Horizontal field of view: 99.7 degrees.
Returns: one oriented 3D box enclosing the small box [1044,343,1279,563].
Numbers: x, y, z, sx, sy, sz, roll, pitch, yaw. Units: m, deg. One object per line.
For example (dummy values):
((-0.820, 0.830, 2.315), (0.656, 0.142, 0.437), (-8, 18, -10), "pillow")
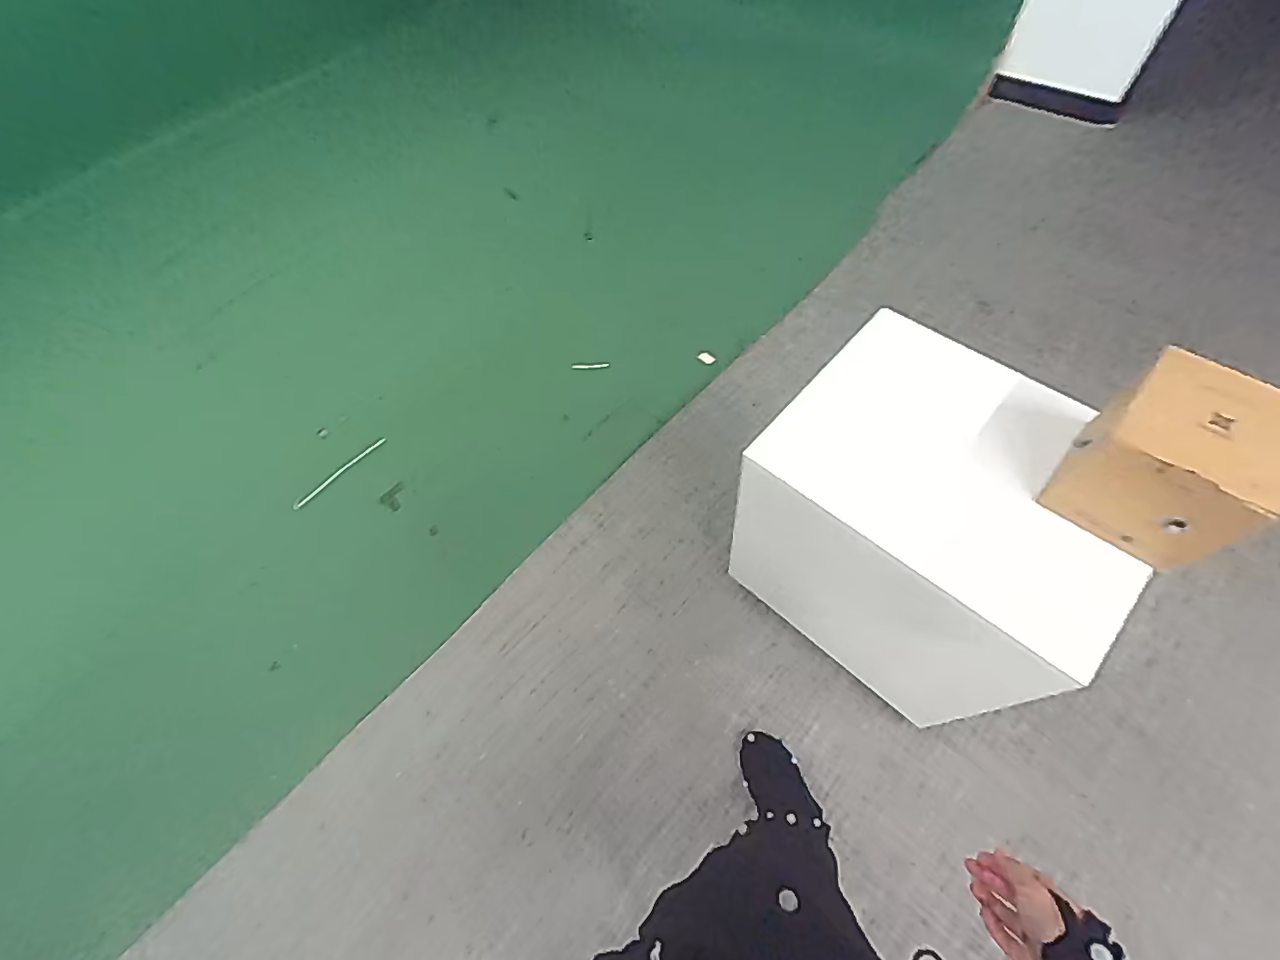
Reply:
((0.654, -0.027, 0.673), (0.168, 0.176, 0.179), (37, 70, 23), "small box")
